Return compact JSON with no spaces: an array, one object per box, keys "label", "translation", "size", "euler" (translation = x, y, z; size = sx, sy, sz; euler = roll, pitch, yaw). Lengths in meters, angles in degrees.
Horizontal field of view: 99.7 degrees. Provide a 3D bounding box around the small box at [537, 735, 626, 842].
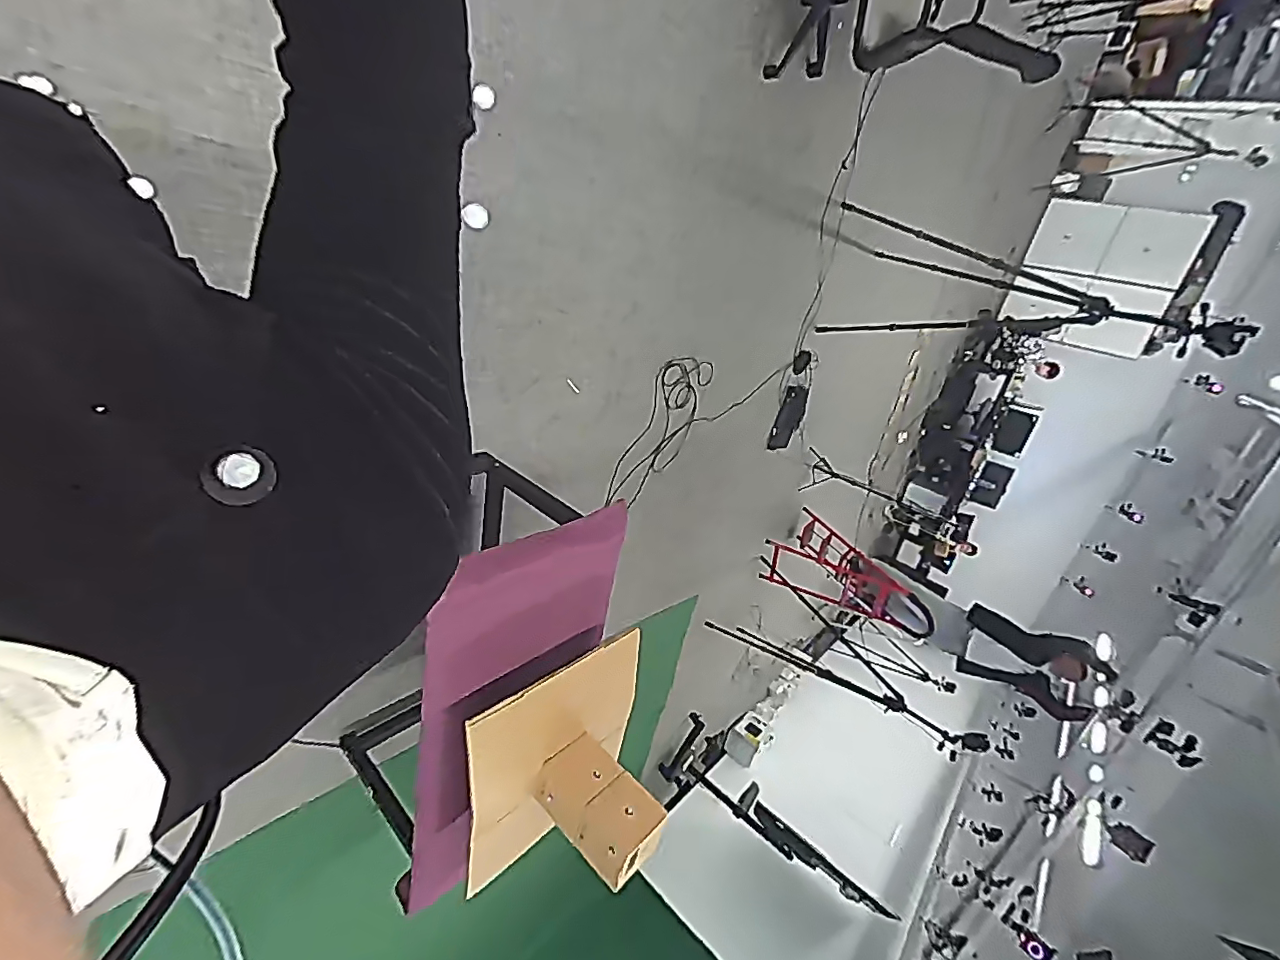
[{"label":"small box","translation":[-0.173,0.892,1.583],"size":[0.179,0.176,0.168],"euler":[-16,128,-46]}]
